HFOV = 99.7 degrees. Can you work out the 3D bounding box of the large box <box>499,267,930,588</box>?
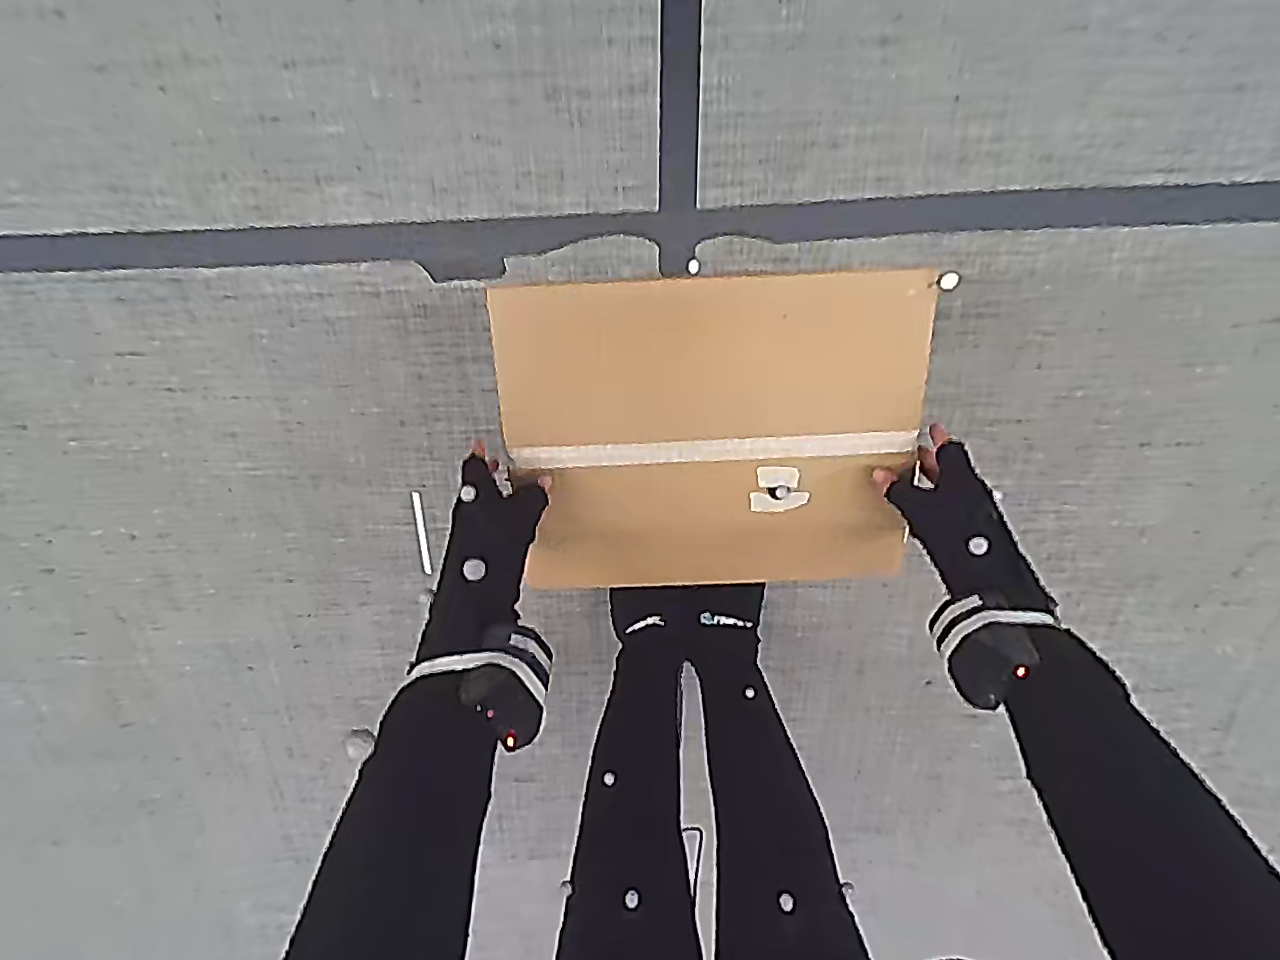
[{"bbox_3d":[0.073,-0.086,0.682,0.408,0.320,0.320,-3,111,0],"label":"large box"}]
